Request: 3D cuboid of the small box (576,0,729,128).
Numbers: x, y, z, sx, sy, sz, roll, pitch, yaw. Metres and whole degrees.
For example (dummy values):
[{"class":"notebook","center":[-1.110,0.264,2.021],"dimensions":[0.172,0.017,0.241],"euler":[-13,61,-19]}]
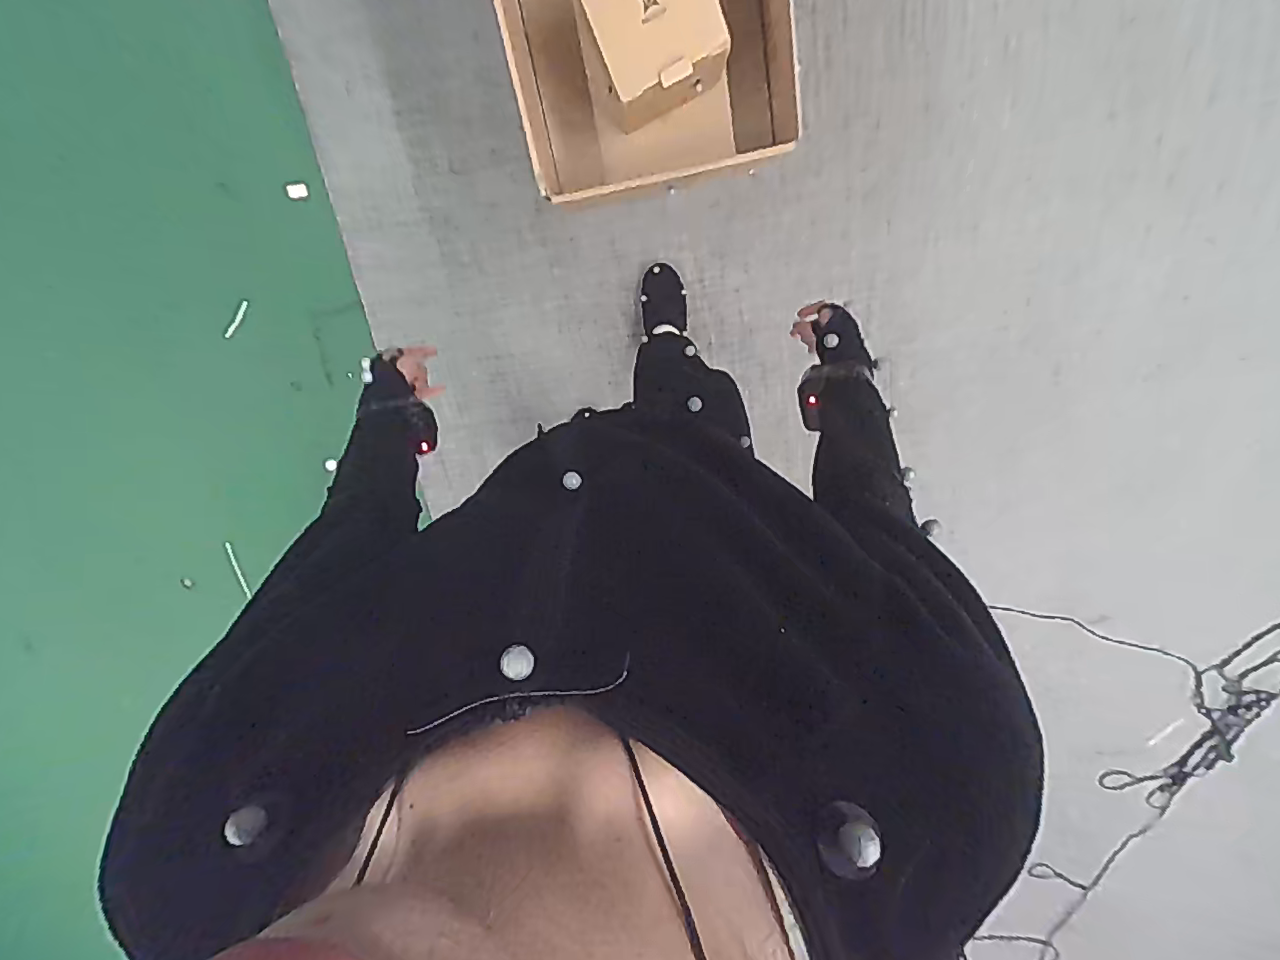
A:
[{"class":"small box","center":[0.016,-0.647,0.787],"dimensions":[0.168,0.176,0.179],"euler":[-23,108,8]}]
